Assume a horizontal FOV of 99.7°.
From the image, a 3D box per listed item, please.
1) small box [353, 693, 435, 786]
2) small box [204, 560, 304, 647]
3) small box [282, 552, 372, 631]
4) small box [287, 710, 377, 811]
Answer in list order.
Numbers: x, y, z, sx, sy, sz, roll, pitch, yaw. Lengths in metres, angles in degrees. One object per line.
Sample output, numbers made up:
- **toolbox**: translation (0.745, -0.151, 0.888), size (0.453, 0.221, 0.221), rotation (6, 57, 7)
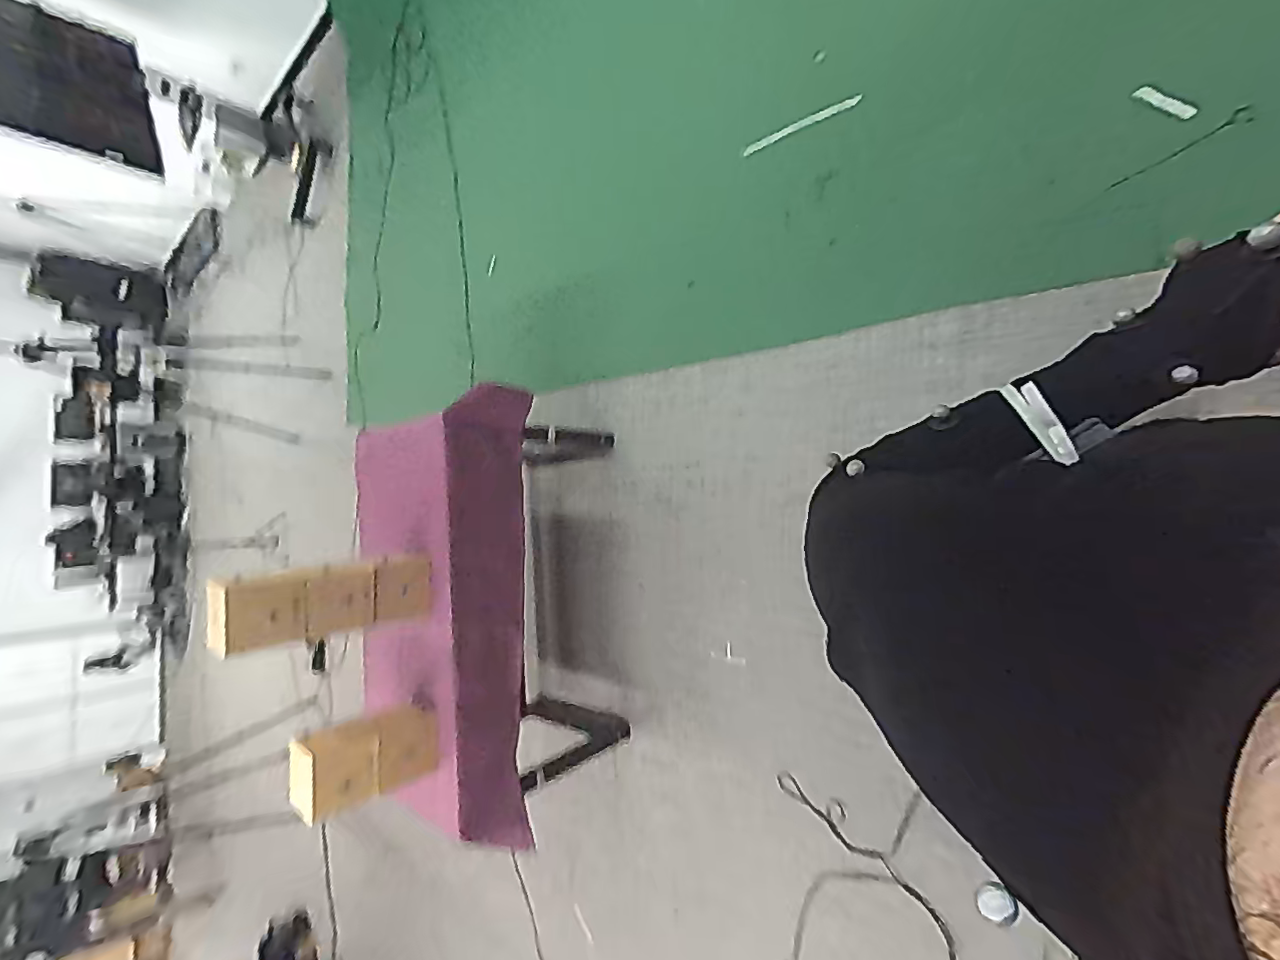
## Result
- **small box**: translation (-0.711, 0.739, 1.566), size (0.168, 0.176, 0.179), rotation (-3, 88, 41)
- **small box**: translation (-0.952, 0.296, 1.338), size (0.179, 0.176, 0.168), rotation (1, 91, 41)
- **small box**: translation (-0.845, 0.293, 1.464), size (0.179, 0.176, 0.168), rotation (3, 92, 40)
- **small box**: translation (-0.819, 0.737, 1.444), size (0.179, 0.176, 0.168), rotation (-2, 89, 42)
